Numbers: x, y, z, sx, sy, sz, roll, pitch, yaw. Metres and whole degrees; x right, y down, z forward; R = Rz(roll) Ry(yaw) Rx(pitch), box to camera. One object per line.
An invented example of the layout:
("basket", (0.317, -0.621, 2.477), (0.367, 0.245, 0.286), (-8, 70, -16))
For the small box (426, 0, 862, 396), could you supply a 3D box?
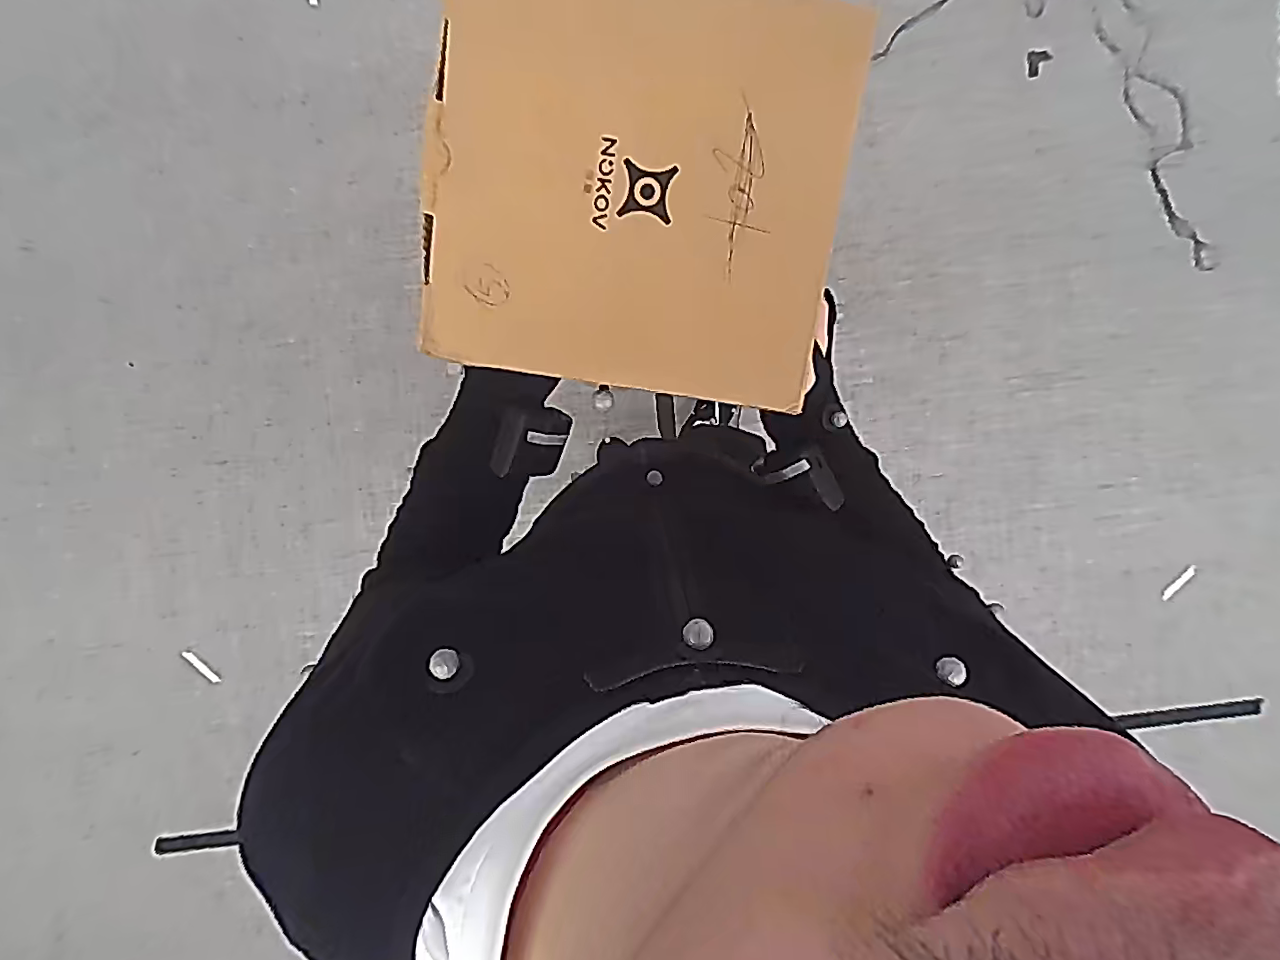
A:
("small box", (-0.004, -0.145, 0.320), (0.179, 0.176, 0.168), (8, 100, -4))
